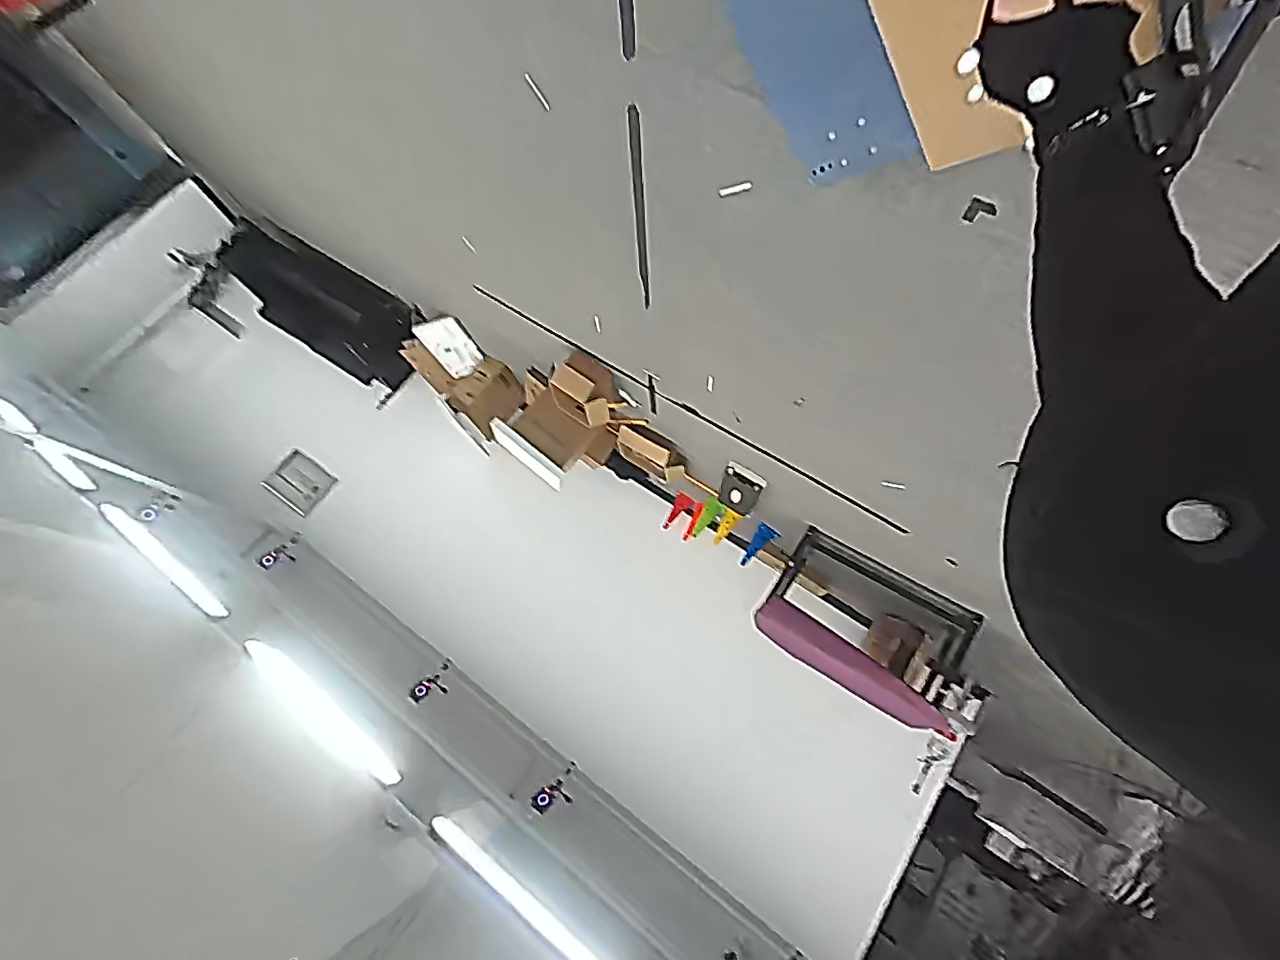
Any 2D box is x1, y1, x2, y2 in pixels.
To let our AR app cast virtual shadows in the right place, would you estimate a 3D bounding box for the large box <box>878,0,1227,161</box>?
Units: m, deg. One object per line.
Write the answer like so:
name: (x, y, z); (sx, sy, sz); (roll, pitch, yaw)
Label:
large box: (0.552, -0.749, 0.724); (0.408, 0.320, 0.320); (46, 162, -30)
